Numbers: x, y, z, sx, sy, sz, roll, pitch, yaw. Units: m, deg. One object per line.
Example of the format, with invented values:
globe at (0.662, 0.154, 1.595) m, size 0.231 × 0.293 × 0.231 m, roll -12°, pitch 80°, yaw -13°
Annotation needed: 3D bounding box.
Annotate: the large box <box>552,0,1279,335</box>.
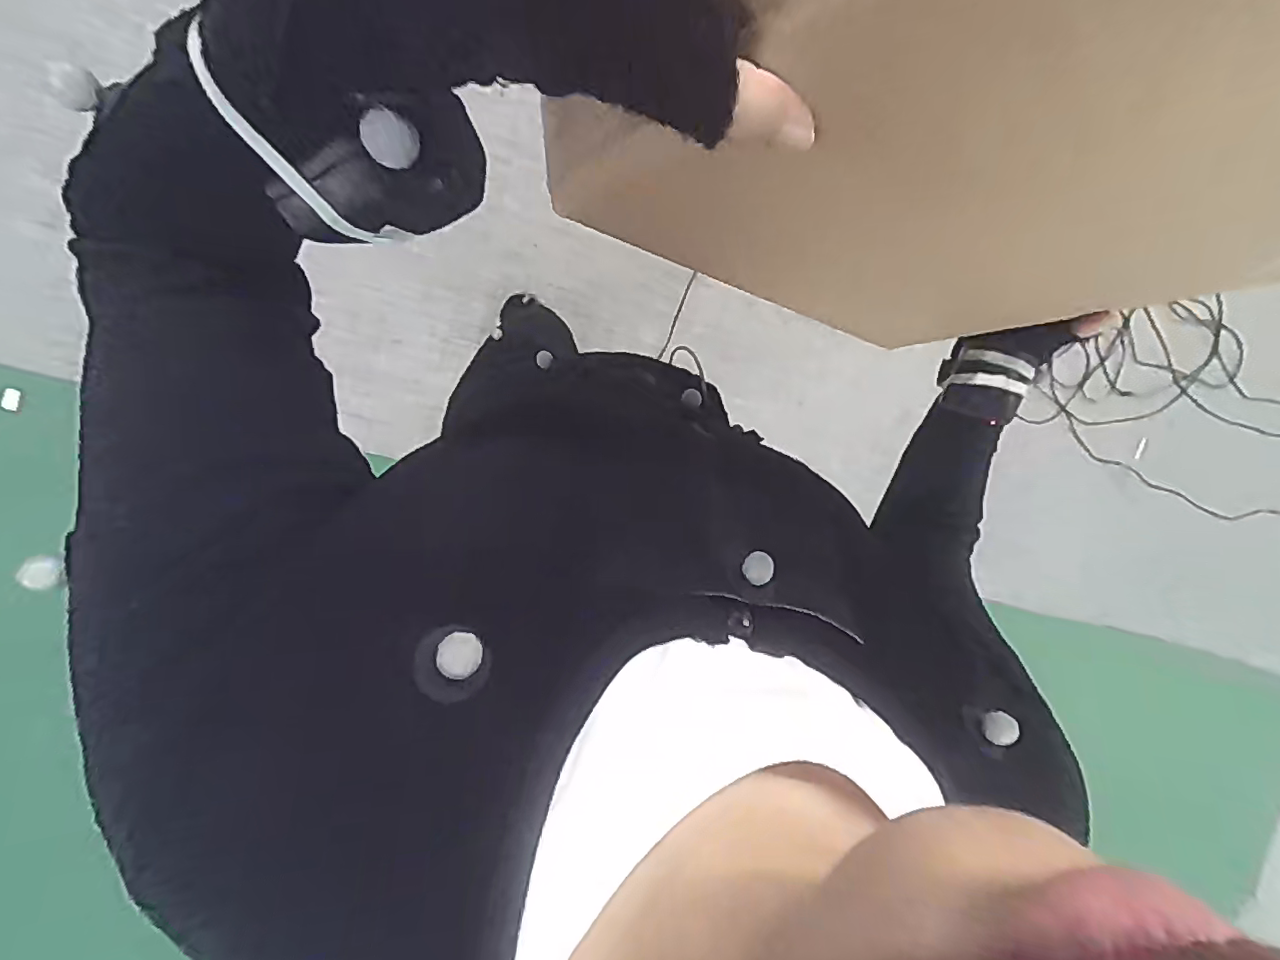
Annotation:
large box at (0.201, -0.280, 0.268) m, size 0.408 × 0.320 × 0.320 m, roll -3°, pitch 92°, yaw -47°
